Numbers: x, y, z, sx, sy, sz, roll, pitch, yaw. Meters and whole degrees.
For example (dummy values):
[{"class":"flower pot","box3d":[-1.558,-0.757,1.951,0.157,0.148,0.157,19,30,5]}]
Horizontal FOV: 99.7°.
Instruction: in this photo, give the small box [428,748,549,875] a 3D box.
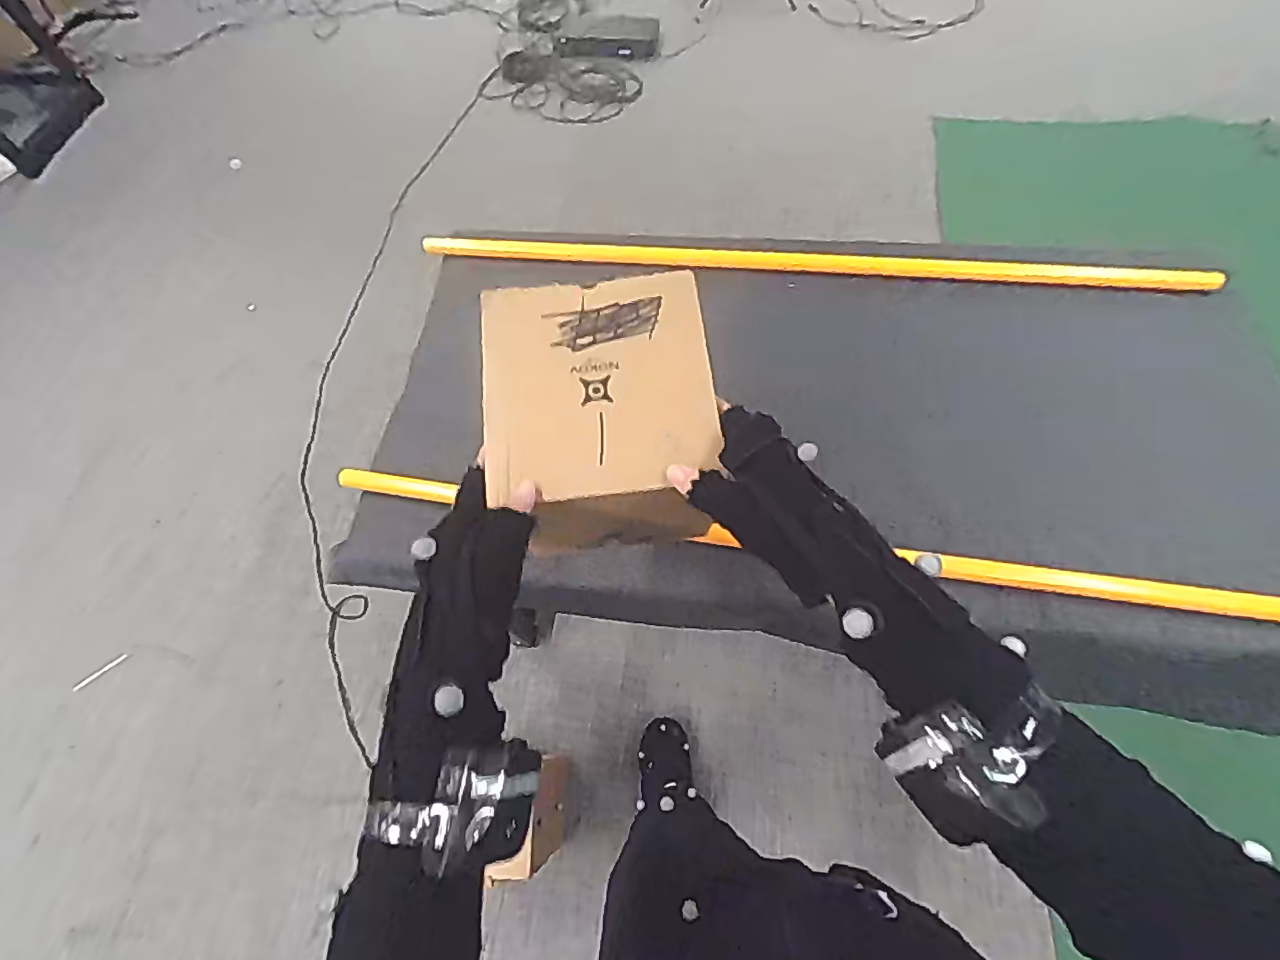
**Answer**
[{"class":"small box","box3d":[-0.264,0.591,0.983,0.168,0.176,0.179,-5,64,2]}]

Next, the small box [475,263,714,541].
[{"class":"small box","box3d":[-0.037,-0.056,0.468,0.168,0.176,0.179,-6,72,-1]}]
